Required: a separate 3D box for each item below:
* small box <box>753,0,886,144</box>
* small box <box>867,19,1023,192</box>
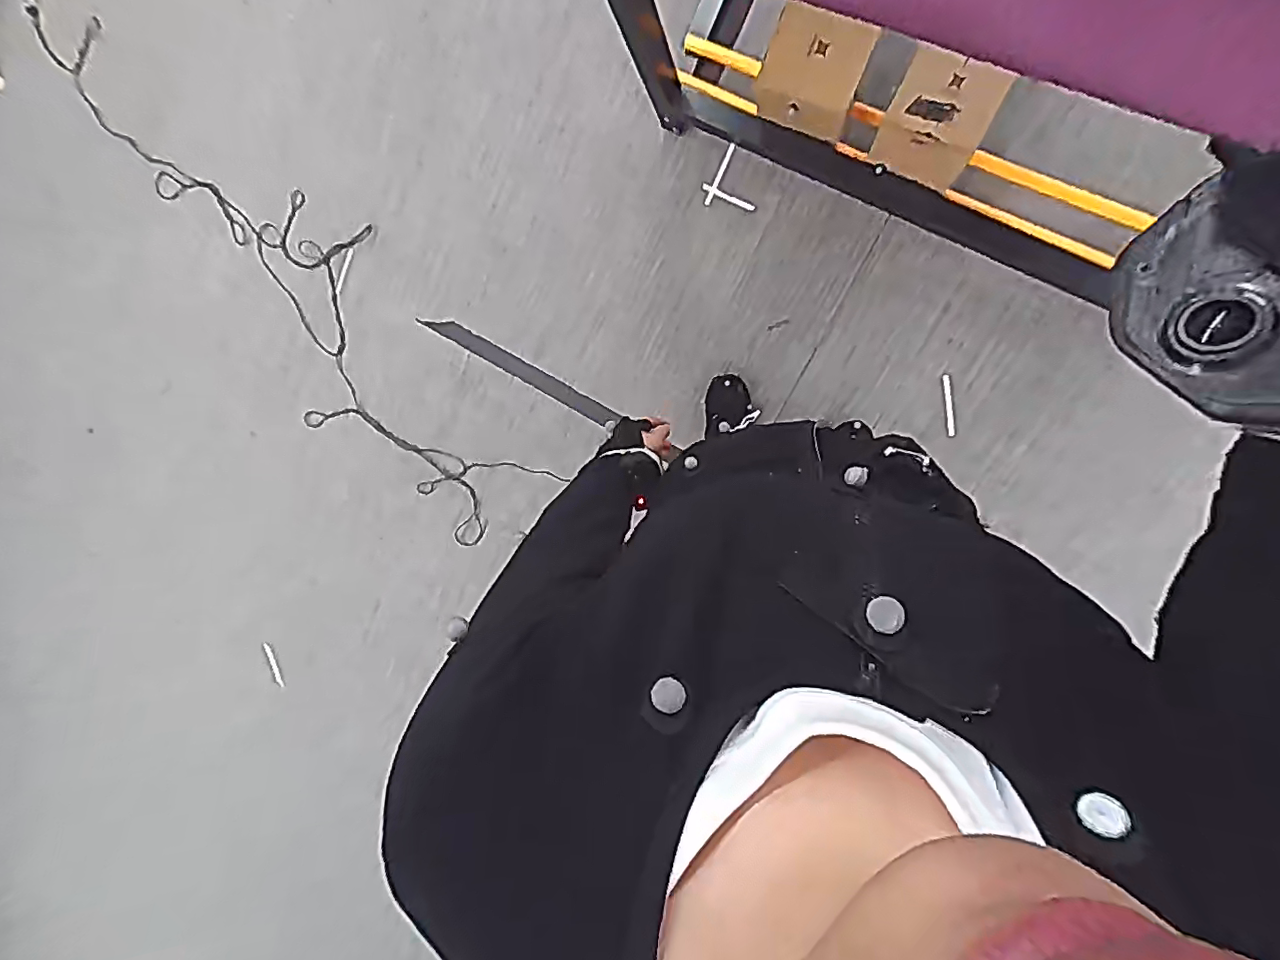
[{"bbox_3d":[0.330,-0.772,1.023,0.179,0.176,0.168,25,105,9],"label":"small box"},{"bbox_3d":[0.537,-0.667,0.986,0.168,0.176,0.179,27,97,8],"label":"small box"}]
